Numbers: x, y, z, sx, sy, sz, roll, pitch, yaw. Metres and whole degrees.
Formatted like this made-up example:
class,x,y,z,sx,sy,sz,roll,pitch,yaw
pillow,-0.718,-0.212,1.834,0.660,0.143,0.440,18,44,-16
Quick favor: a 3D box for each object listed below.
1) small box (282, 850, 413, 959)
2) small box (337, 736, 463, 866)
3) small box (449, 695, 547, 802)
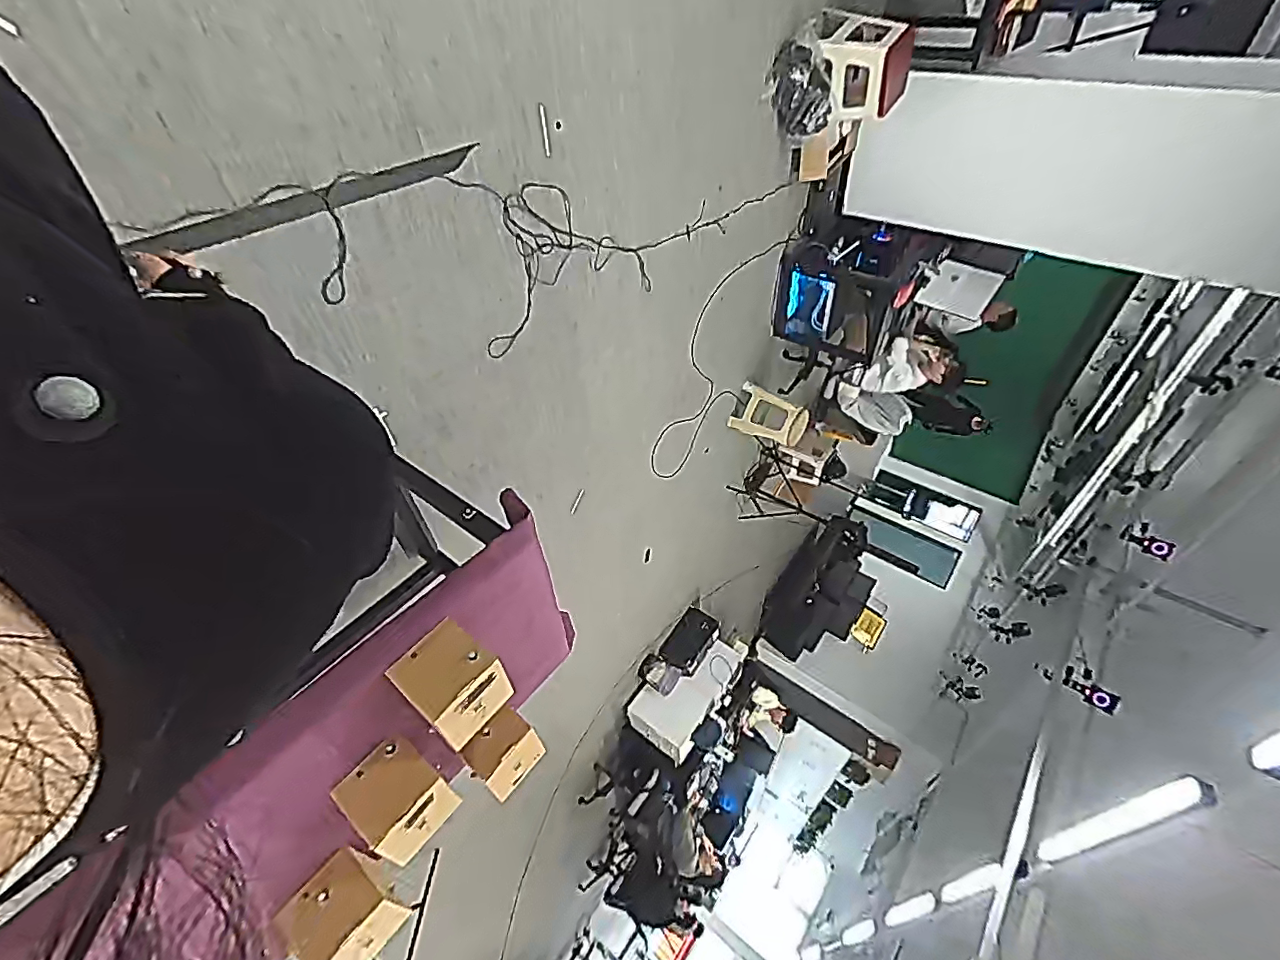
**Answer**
class,x,y,z,sx,sy,sz,roll,pitch,yaw
small box,-0.658,0.983,1.224,0.168,0.176,0.179,-44,146,-33
small box,-0.531,0.704,1.201,0.168,0.176,0.179,-43,147,-33
small box,-0.382,0.713,1.453,0.168,0.176,0.179,-43,144,-31
